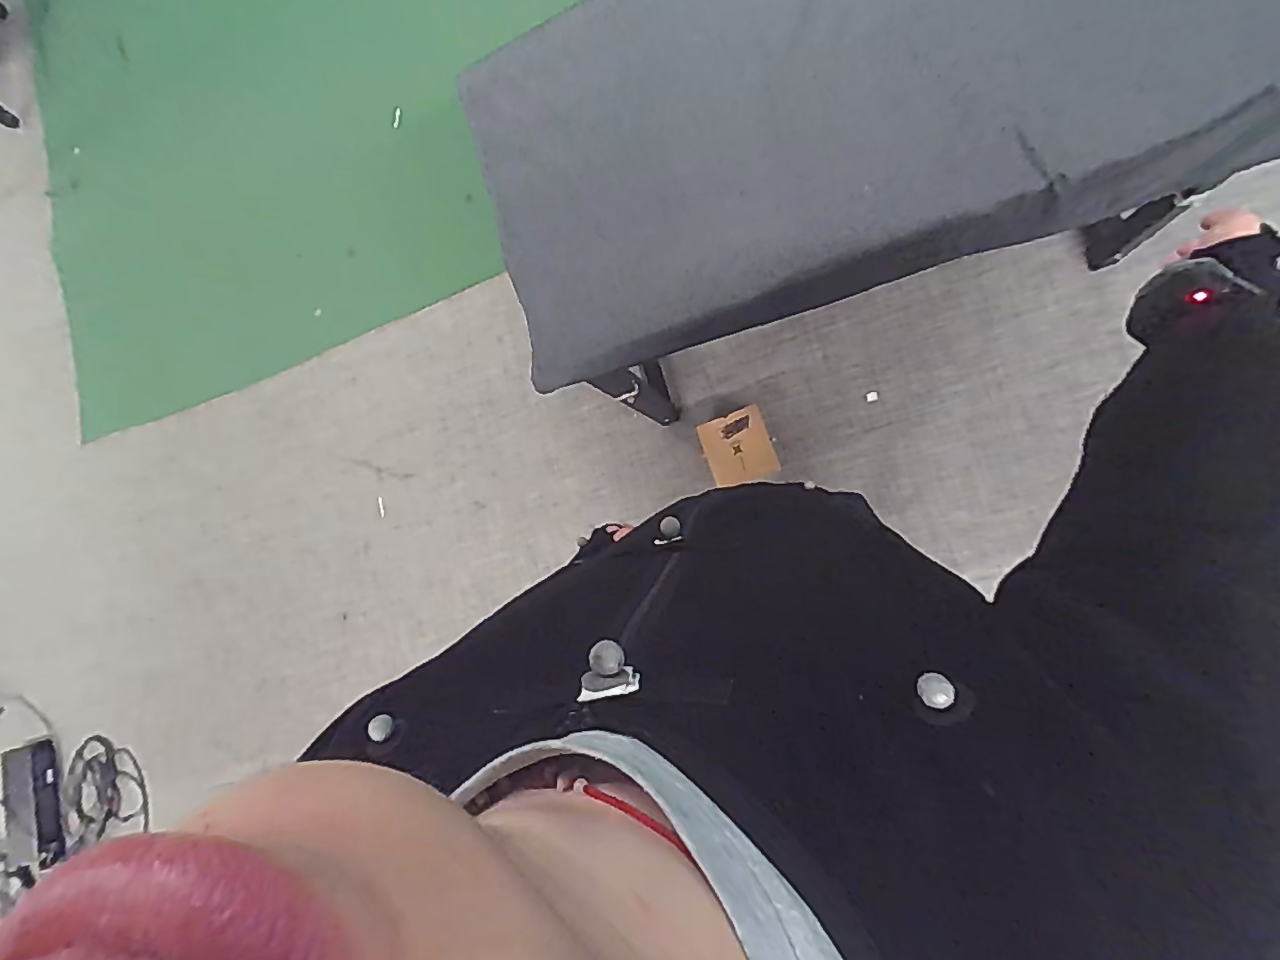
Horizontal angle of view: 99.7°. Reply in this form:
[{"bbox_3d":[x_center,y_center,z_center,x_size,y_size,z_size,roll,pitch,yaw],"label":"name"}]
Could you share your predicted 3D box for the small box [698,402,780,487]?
[{"bbox_3d":[0.268,-0.087,1.444,0.168,0.176,0.179,-20,84,15],"label":"small box"}]
